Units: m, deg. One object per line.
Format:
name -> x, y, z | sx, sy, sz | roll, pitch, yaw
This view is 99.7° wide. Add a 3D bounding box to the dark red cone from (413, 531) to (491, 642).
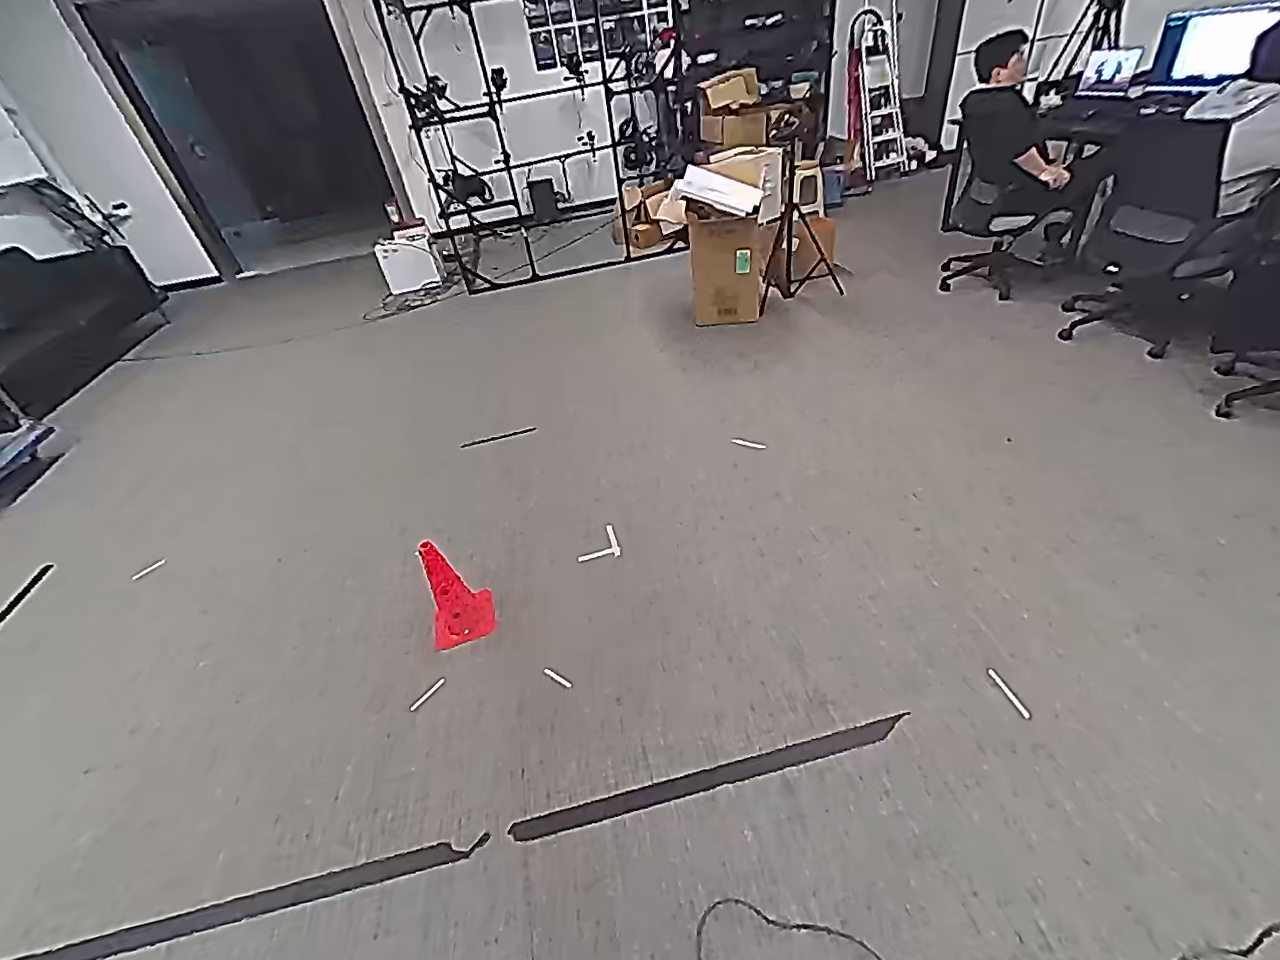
dark red cone -> -0.621, 0.311, 1.693 | 0.202, 0.394, 0.201 | -18, 40, -11
